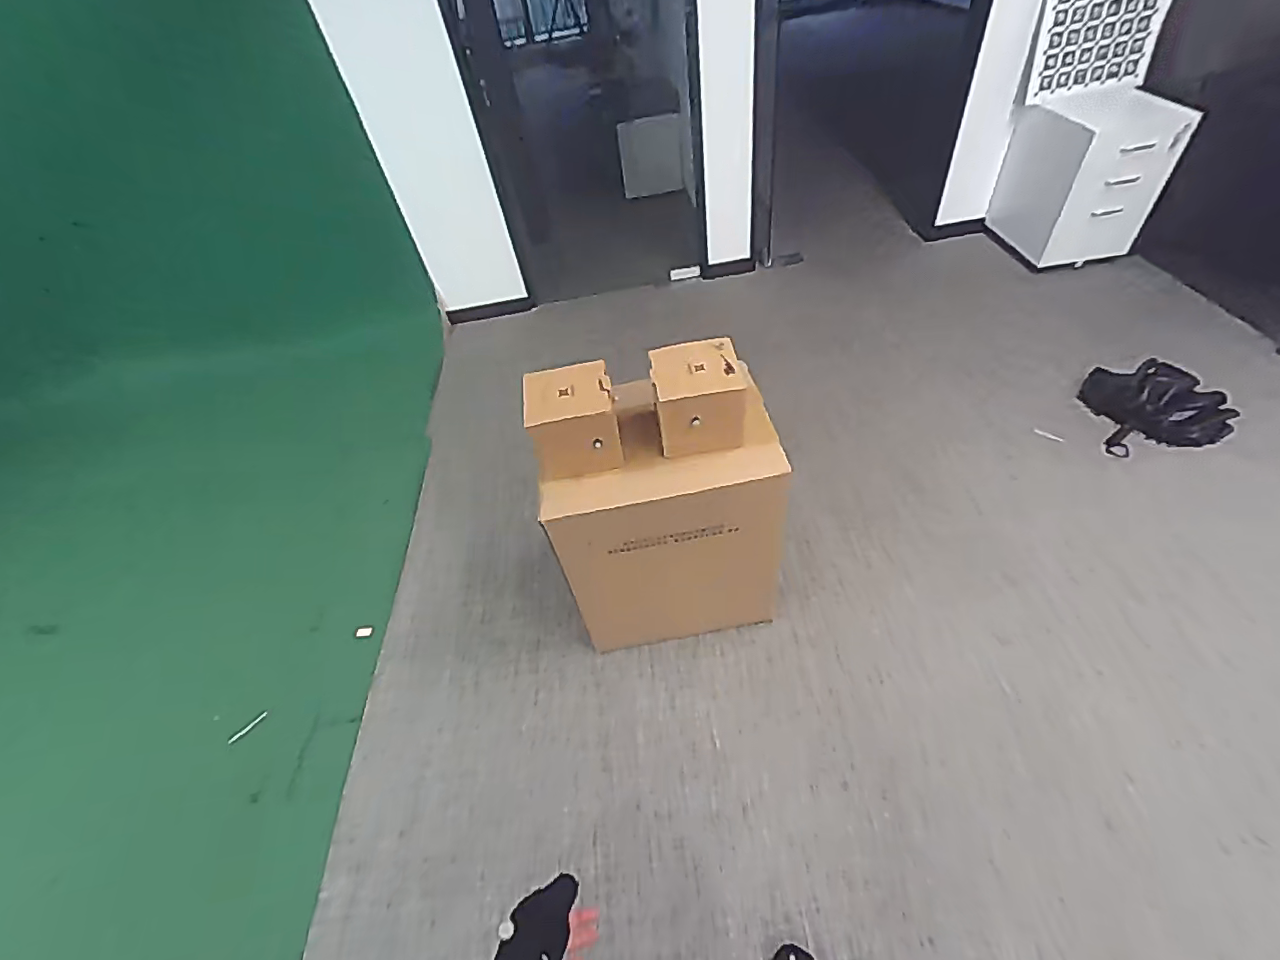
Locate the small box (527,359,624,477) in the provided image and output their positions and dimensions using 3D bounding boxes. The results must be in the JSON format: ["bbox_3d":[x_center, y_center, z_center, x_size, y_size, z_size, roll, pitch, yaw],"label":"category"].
[{"bbox_3d":[-0.134,-0.129,1.156,0.179,0.176,0.168,-12,50,1],"label":"small box"}]

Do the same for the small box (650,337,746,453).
[{"bbox_3d":[0.124,-0.176,1.152,0.179,0.176,0.168,-9,51,2],"label":"small box"}]
